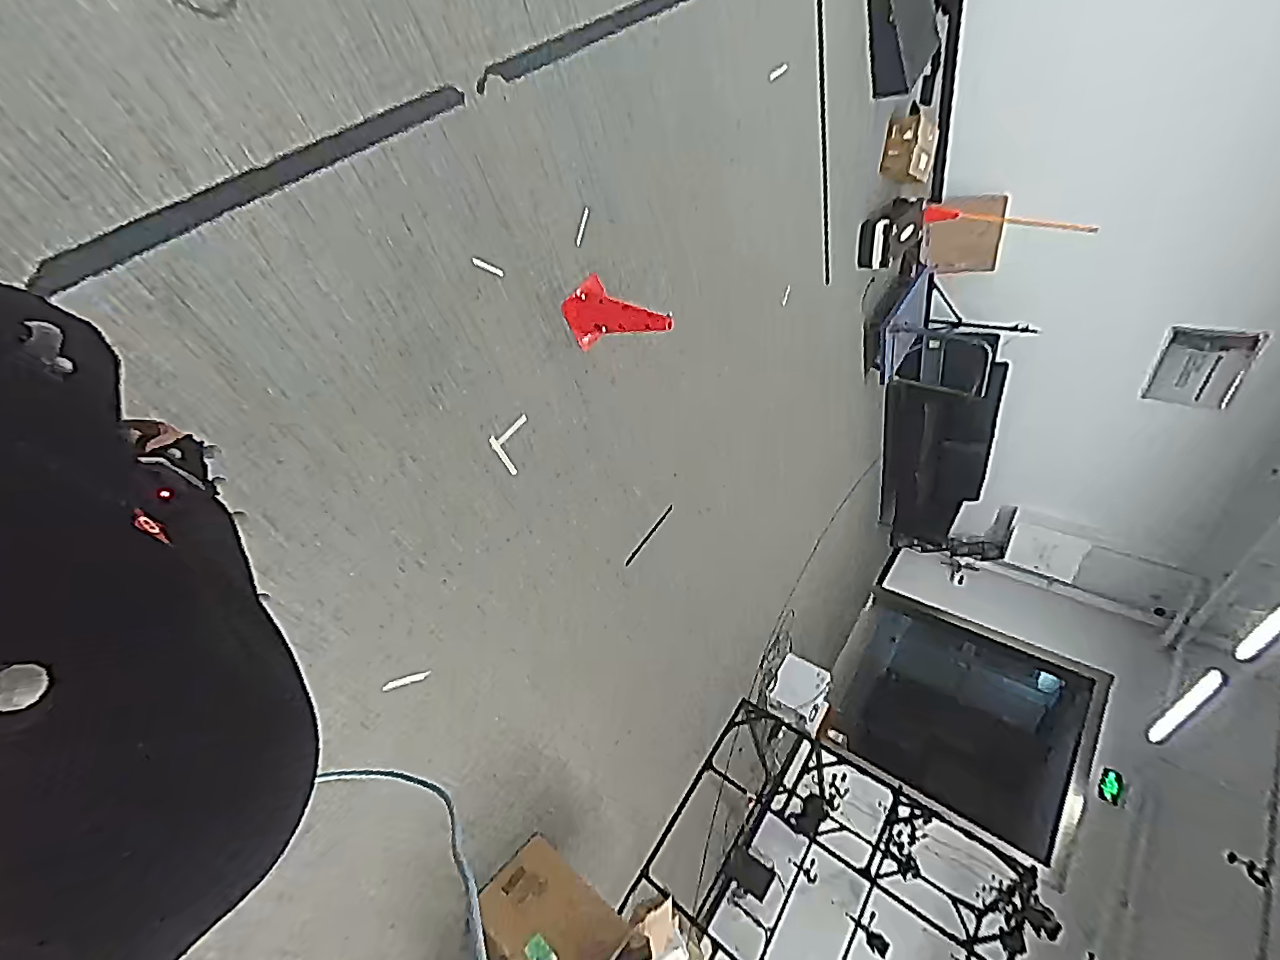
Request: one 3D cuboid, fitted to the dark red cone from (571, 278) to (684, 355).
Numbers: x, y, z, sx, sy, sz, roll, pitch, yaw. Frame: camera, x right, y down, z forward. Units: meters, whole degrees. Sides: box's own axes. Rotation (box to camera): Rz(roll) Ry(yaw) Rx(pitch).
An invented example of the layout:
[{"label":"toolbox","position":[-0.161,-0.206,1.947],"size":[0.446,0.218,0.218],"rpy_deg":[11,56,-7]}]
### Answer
[{"label":"dark red cone","position":[-0.022,-0.516,1.766],"size":[0.202,0.394,0.201],"rpy_deg":[-54,141,-21]}]
